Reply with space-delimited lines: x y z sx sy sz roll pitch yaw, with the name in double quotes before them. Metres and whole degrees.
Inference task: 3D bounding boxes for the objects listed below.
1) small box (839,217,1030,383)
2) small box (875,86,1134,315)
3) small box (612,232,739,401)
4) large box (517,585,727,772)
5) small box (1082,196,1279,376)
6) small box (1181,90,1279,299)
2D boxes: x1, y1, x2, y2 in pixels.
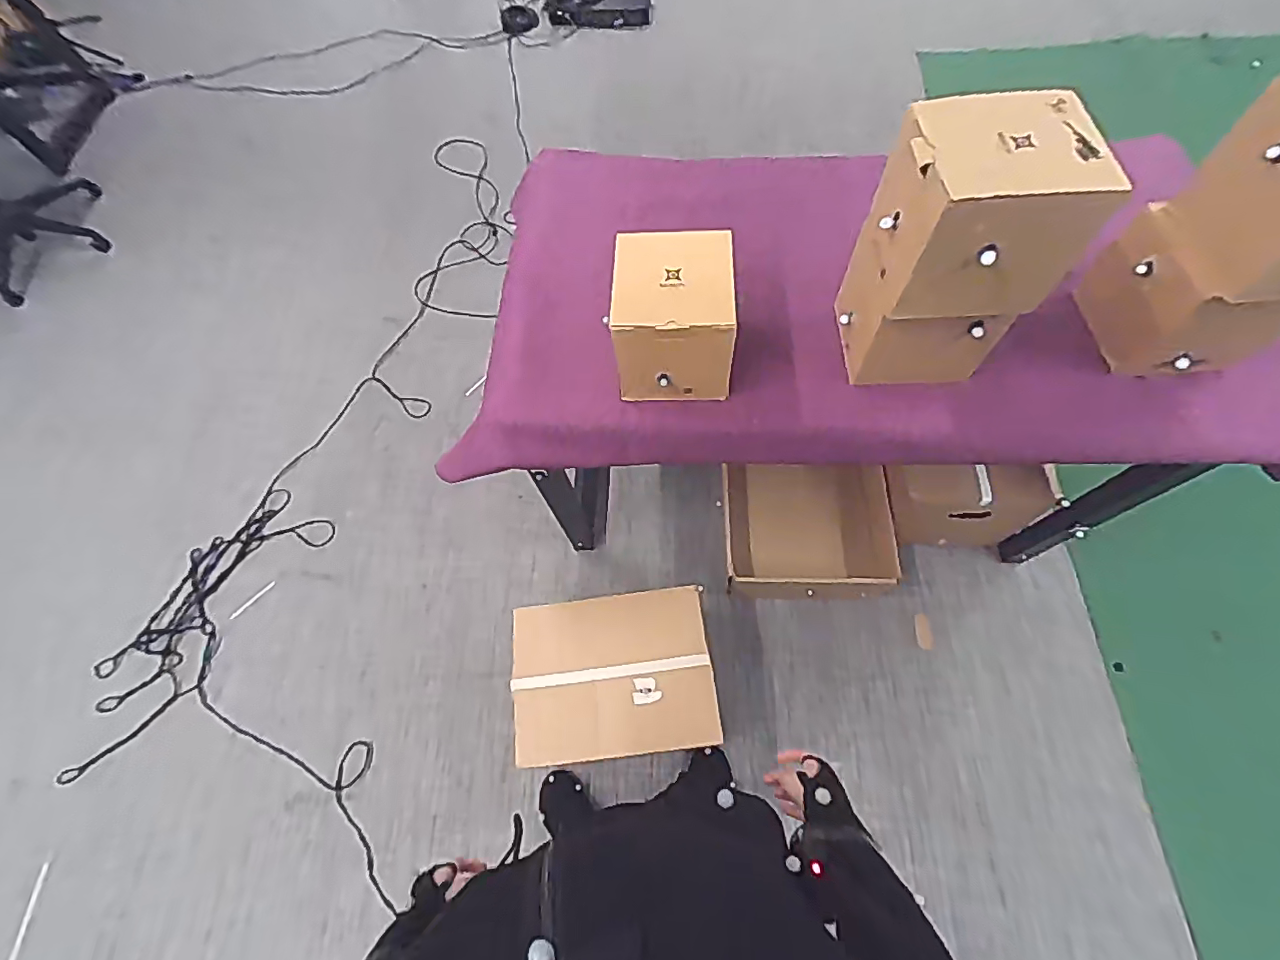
"small box" 0.404 -0.254 0.774 0.179 0.176 0.168 -2 63 5
"small box" 0.386 -0.308 0.619 0.179 0.176 0.168 -2 64 4
"small box" 0.053 -0.236 0.799 0.168 0.176 0.179 0 65 5
"large box" -0.040 0.453 1.217 0.408 0.320 0.320 -7 64 1
"small box" 0.769 -0.267 0.748 0.168 0.176 0.179 -3 64 5
"small box" 0.771 -0.327 0.594 0.168 0.176 0.179 -3 64 5
